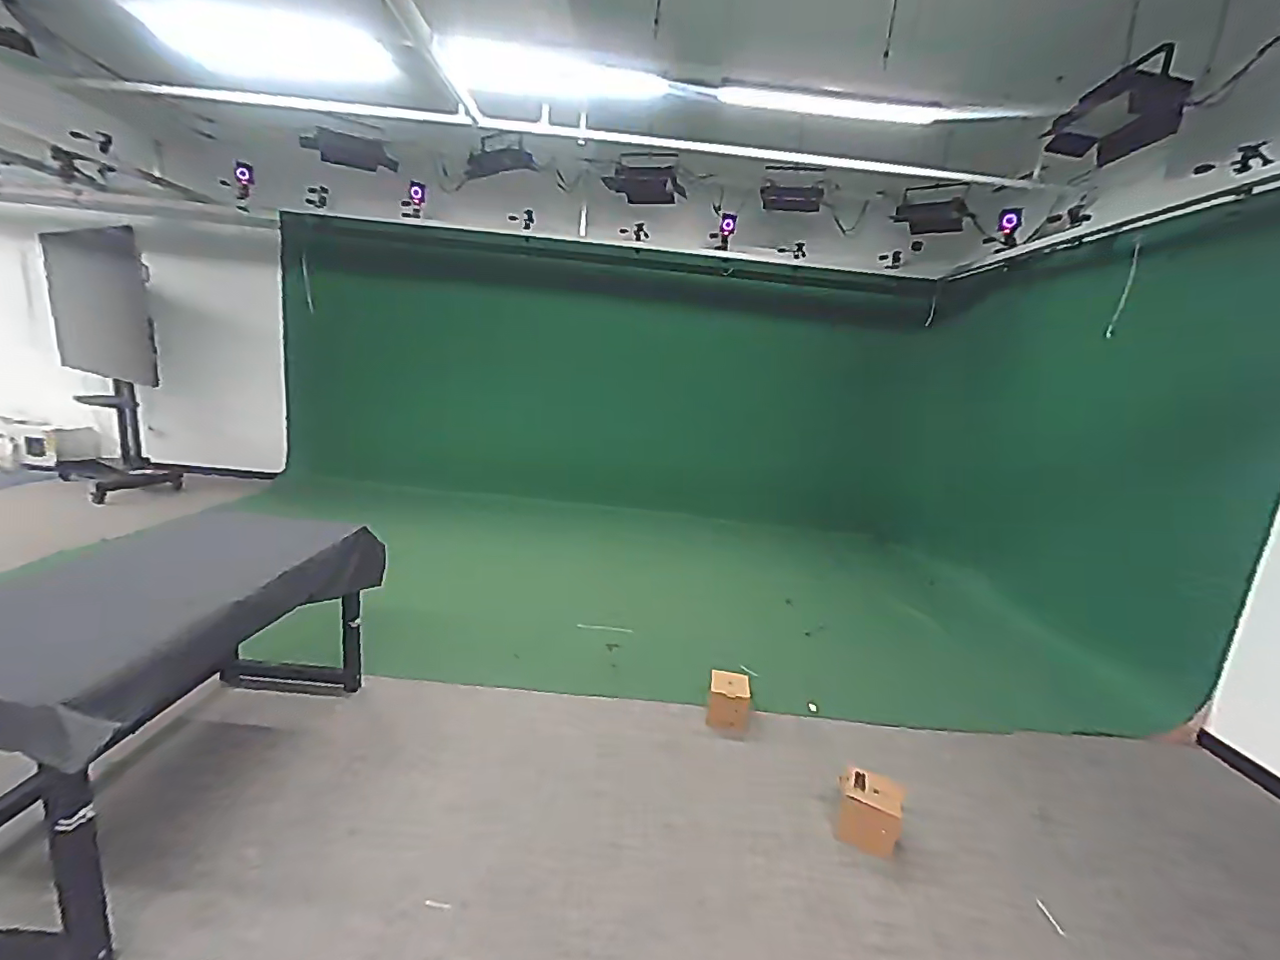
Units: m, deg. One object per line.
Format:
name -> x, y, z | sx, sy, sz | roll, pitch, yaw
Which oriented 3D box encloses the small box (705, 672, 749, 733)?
small box -> 0.382, 0.978, 2.377 | 0.168, 0.176, 0.179 | 9, 11, 7
